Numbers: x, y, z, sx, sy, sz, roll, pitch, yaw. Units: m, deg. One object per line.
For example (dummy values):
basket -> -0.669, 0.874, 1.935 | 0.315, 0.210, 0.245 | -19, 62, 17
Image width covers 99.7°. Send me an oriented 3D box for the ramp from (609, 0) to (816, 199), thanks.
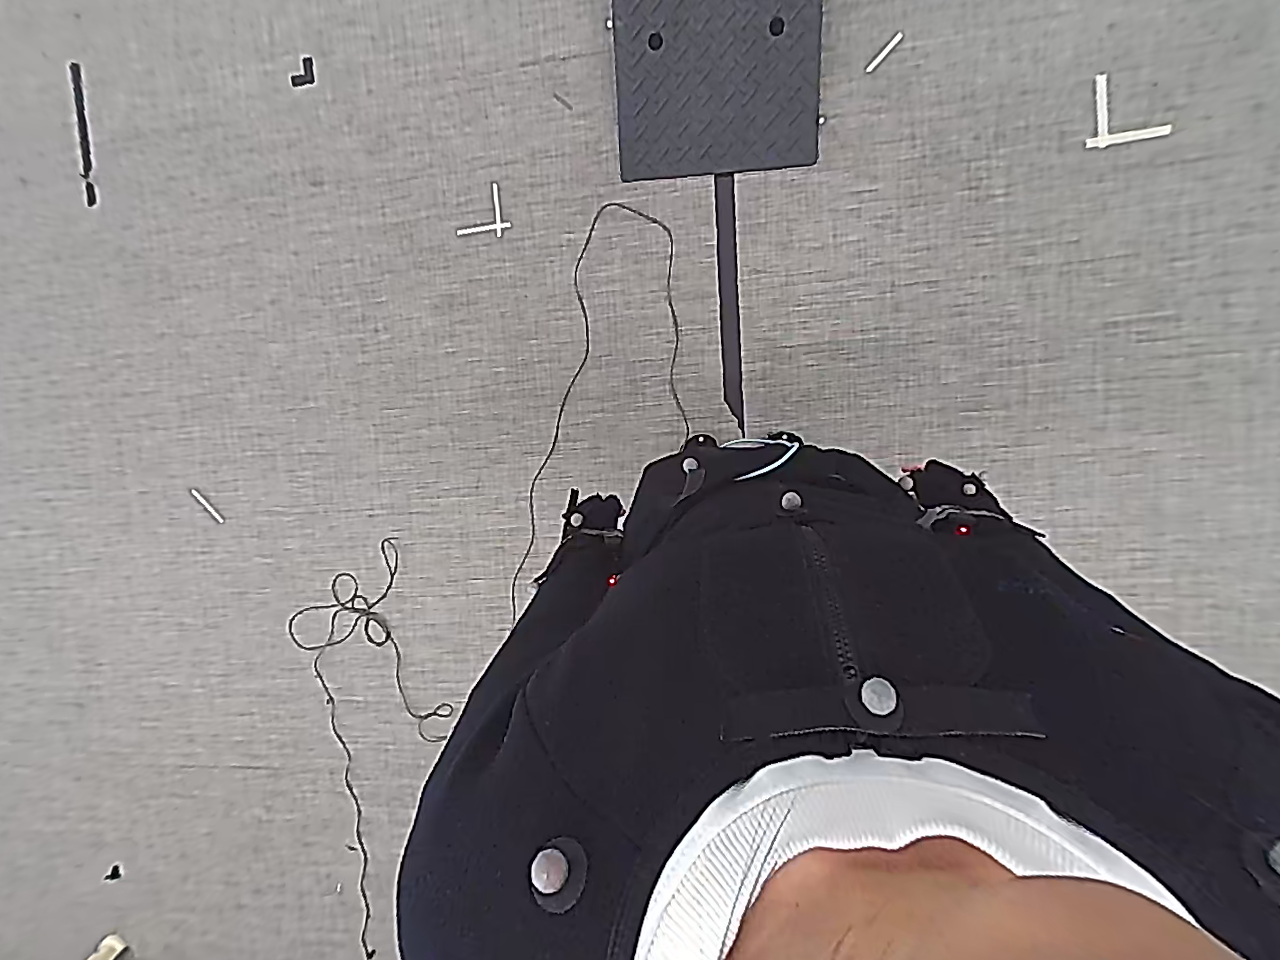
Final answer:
ramp -> 0.164, -1.233, 1.272 | 0.509, 0.206, 0.991 | -4, 94, 8
